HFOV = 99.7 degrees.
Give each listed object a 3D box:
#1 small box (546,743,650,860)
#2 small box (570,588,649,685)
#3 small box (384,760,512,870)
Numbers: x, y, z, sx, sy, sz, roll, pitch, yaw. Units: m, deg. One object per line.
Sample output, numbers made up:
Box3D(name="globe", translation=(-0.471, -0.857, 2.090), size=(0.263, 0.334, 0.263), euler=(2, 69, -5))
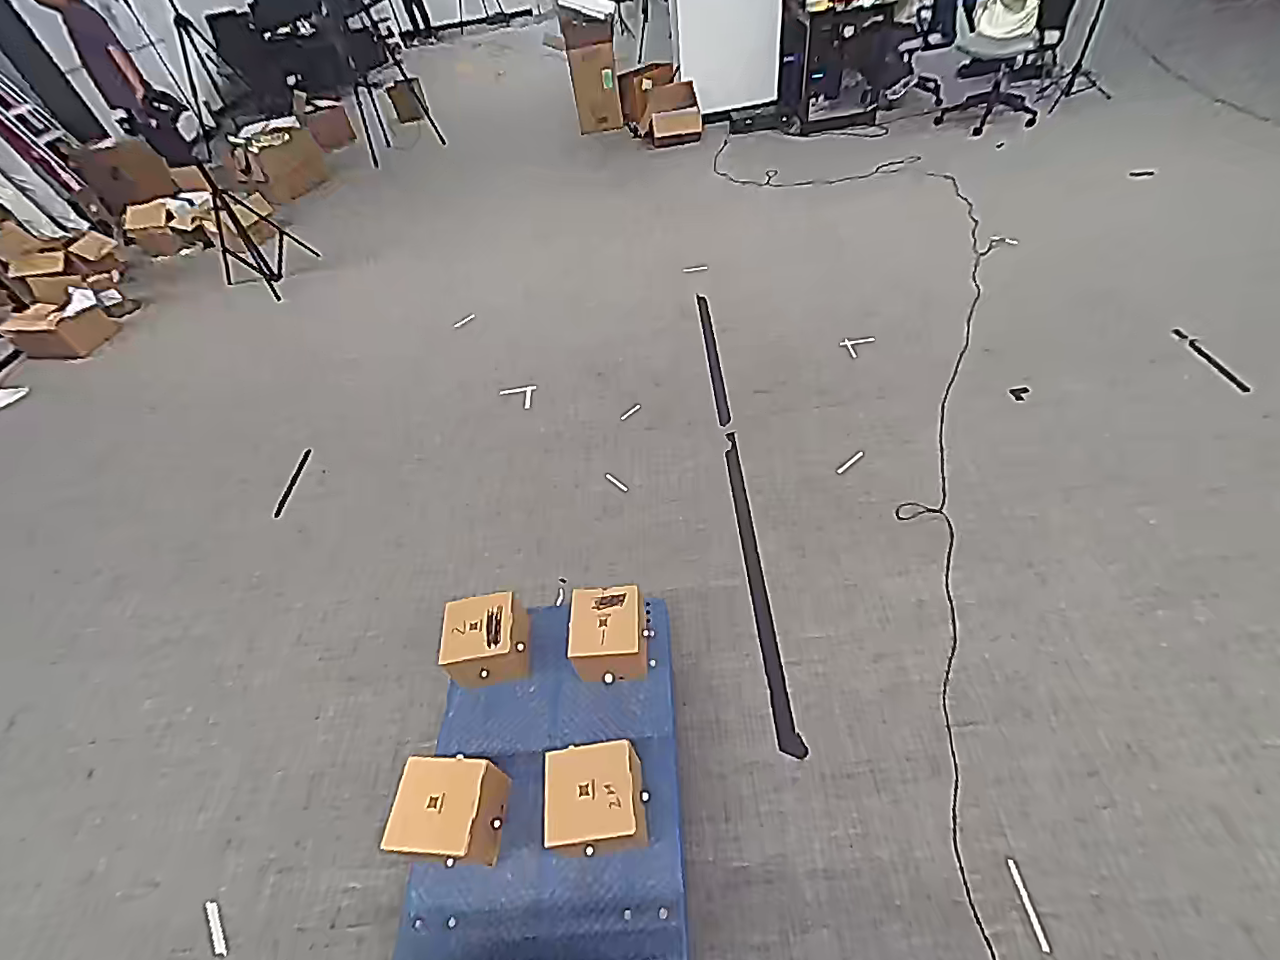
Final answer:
Box3D(name="small box", translation=(-0.083, 0.658, 1.102), size=(0.179, 0.176, 0.168), euler=(-10, 48, 2))
Box3D(name="small box", translation=(-0.070, 0.388, 1.339), size=(0.168, 0.176, 0.179), euler=(-6, 49, 6))
Box3D(name="small box", translation=(-0.388, 0.698, 1.125), size=(0.179, 0.176, 0.168), euler=(-1, 48, 7))
